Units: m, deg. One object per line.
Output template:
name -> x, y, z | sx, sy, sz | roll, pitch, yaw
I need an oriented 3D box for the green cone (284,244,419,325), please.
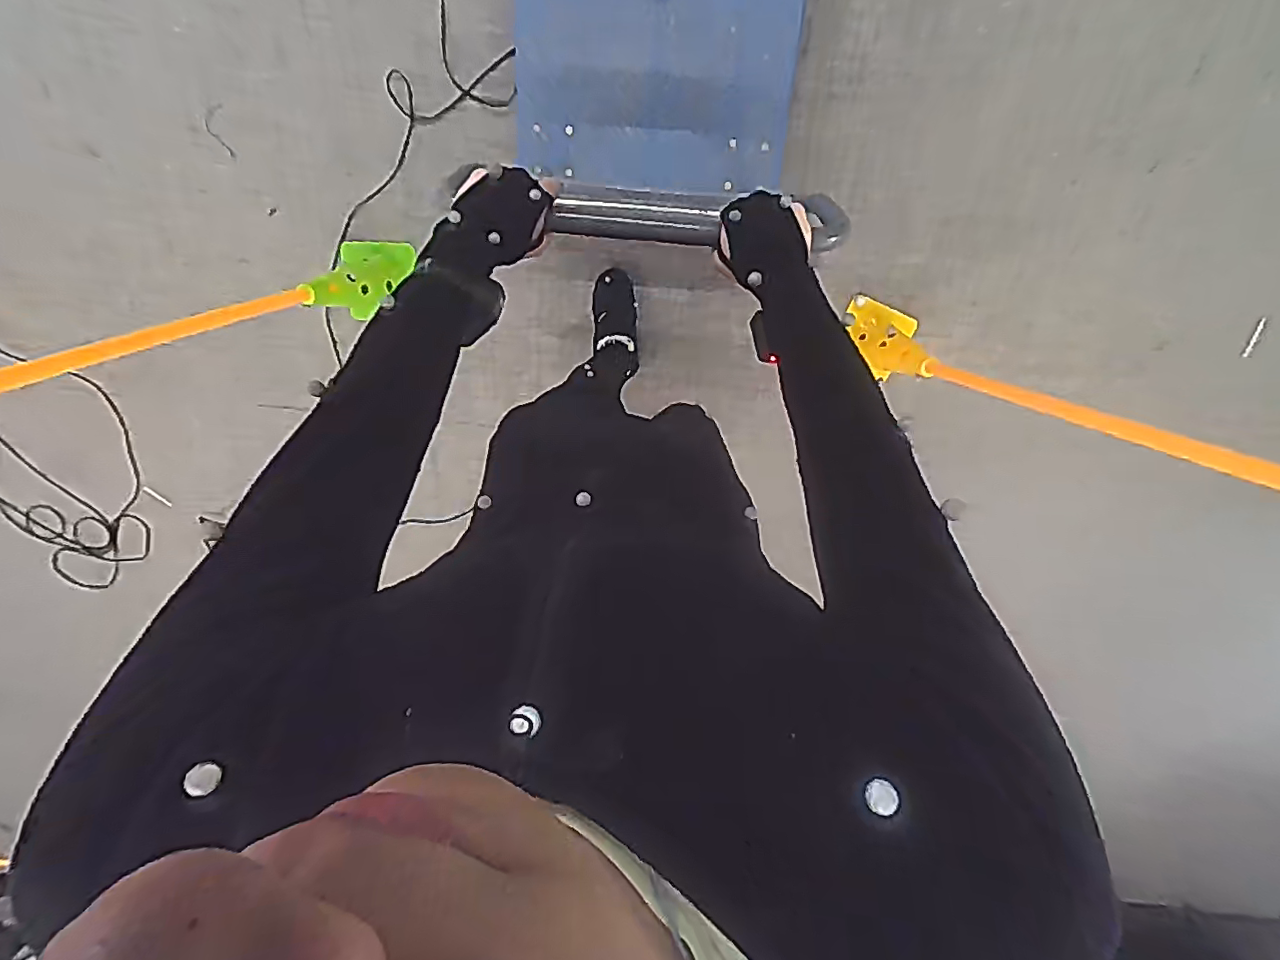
green cone -> -0.704, -0.452, 1.280 | 0.202, 0.368, 0.200 | 2, 113, 2
